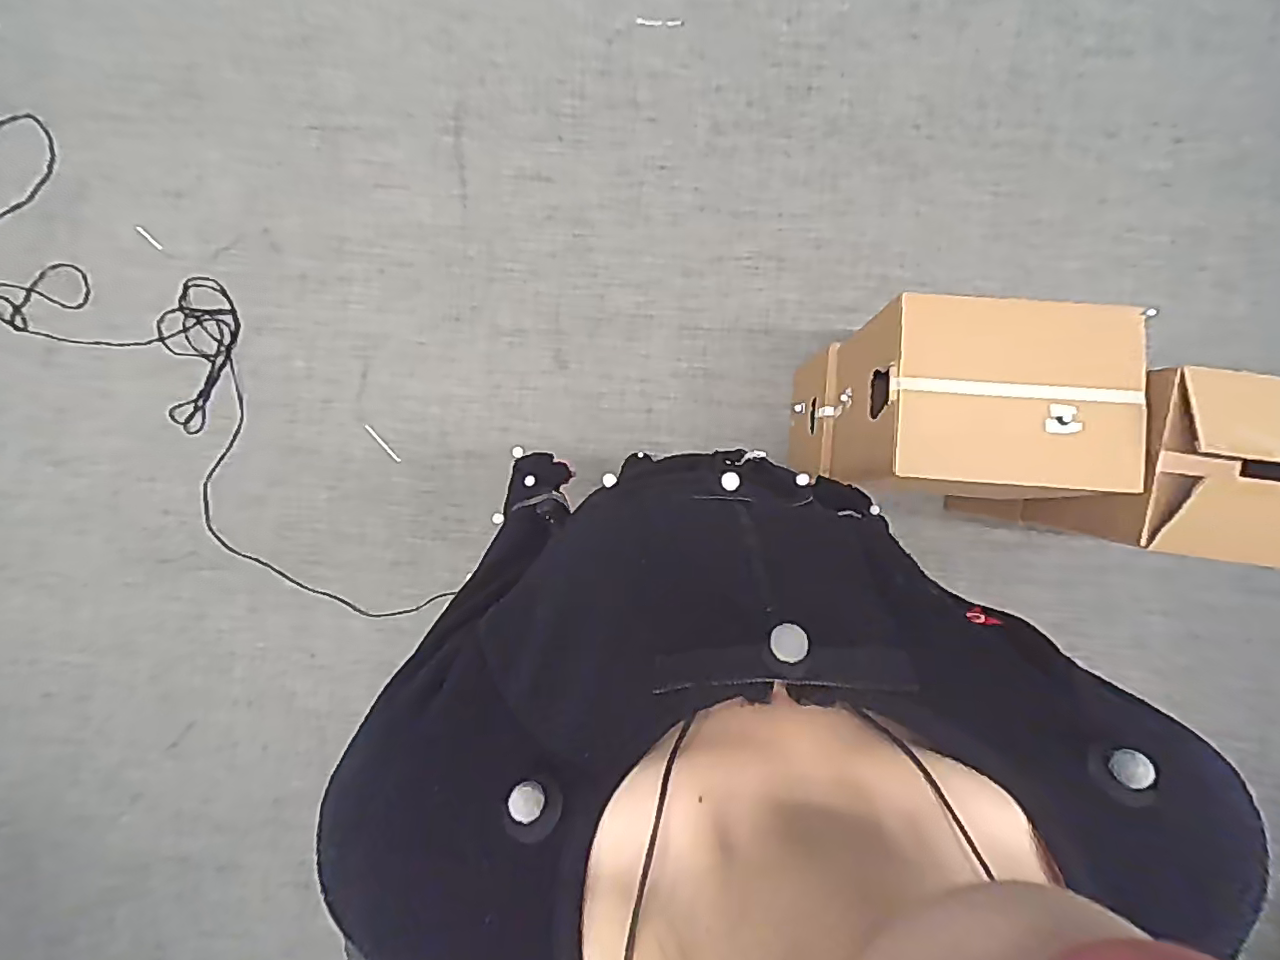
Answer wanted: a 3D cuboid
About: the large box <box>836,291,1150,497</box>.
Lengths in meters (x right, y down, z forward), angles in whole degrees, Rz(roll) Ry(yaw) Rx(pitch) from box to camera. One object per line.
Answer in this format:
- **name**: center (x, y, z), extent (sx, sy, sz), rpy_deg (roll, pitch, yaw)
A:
- **large box**: center (0.622, -0.138, 1.025), extent (0.408, 0.320, 0.320), rpy_deg (4, 87, 1)
